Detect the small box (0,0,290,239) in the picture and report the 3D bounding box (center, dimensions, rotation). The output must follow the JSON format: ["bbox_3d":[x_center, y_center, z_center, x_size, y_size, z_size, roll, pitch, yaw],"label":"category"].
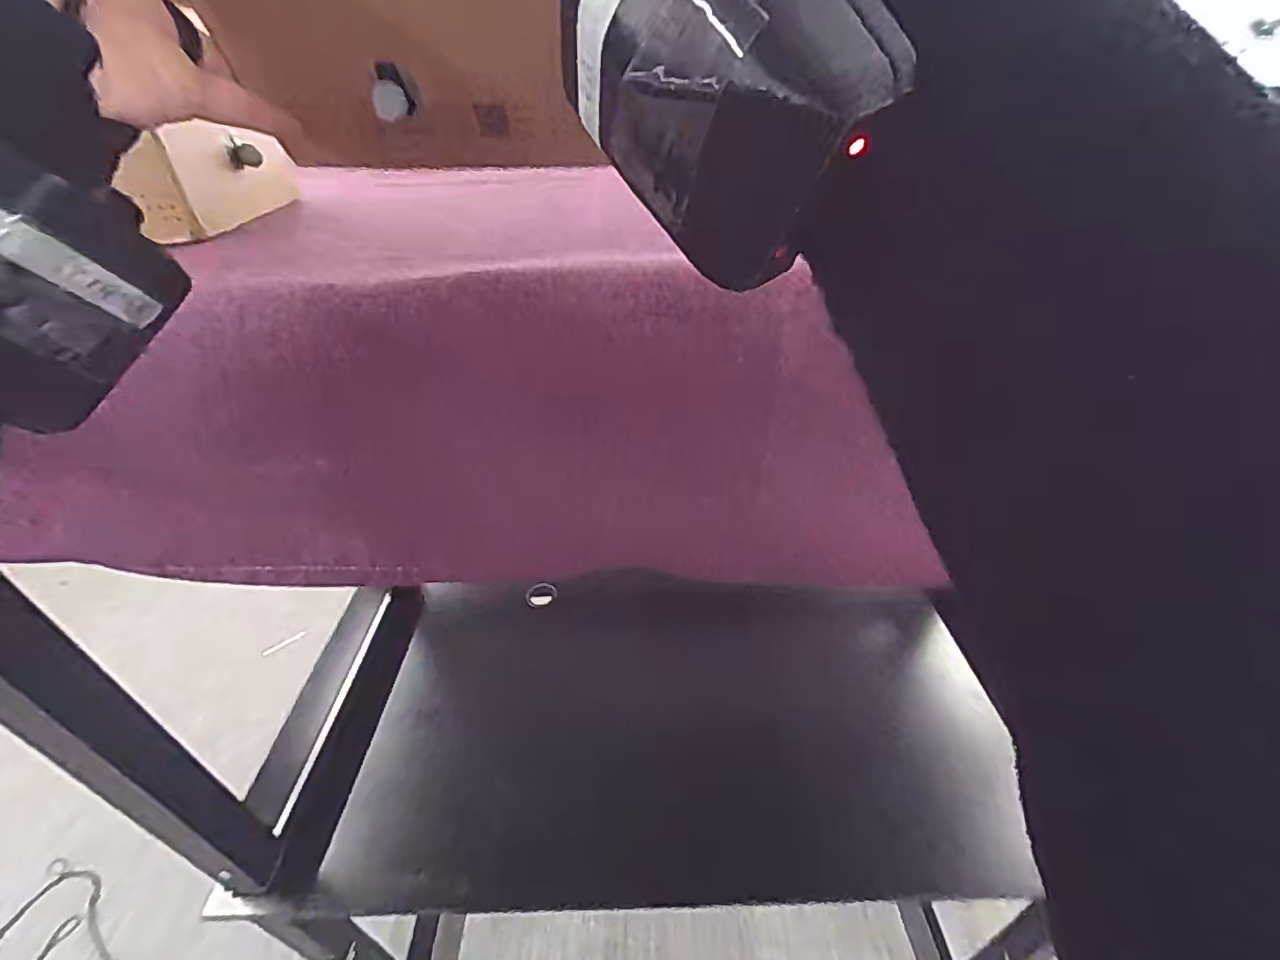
[{"bbox_3d":[-0.360,-0.258,0.345,0.168,0.176,0.179,-8,35,-6],"label":"small box"}]

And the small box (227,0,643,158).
[{"bbox_3d":[-0.083,-0.267,0.219,0.168,0.176,0.179,-1,67,1],"label":"small box"}]
